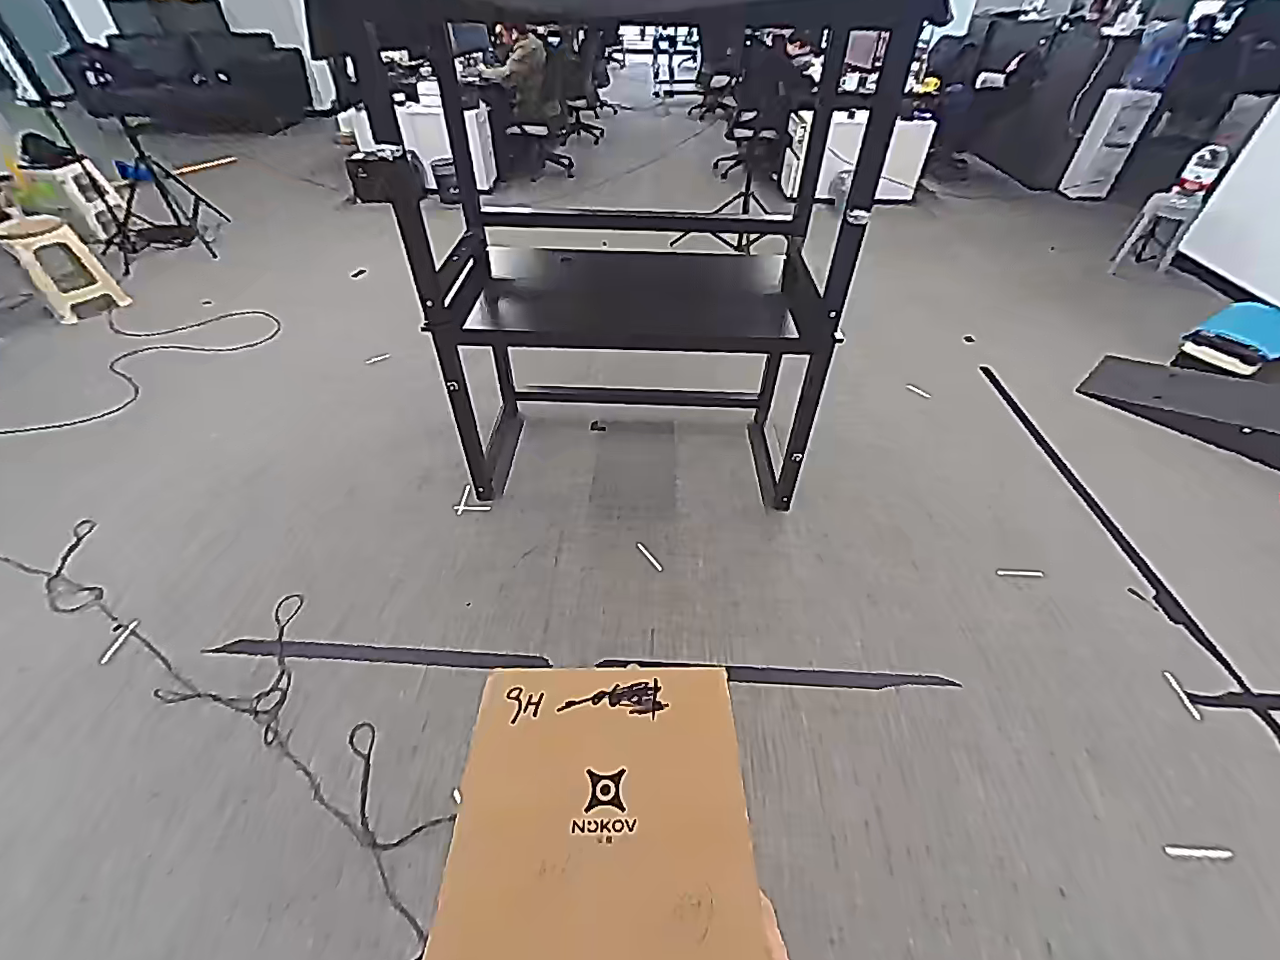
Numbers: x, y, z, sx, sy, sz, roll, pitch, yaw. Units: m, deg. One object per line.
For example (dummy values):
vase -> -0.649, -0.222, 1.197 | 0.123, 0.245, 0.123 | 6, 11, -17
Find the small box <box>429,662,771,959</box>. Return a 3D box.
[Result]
small box -> -0.020, 0.242, 0.356 | 0.168, 0.176, 0.179 | 1, 41, -2
